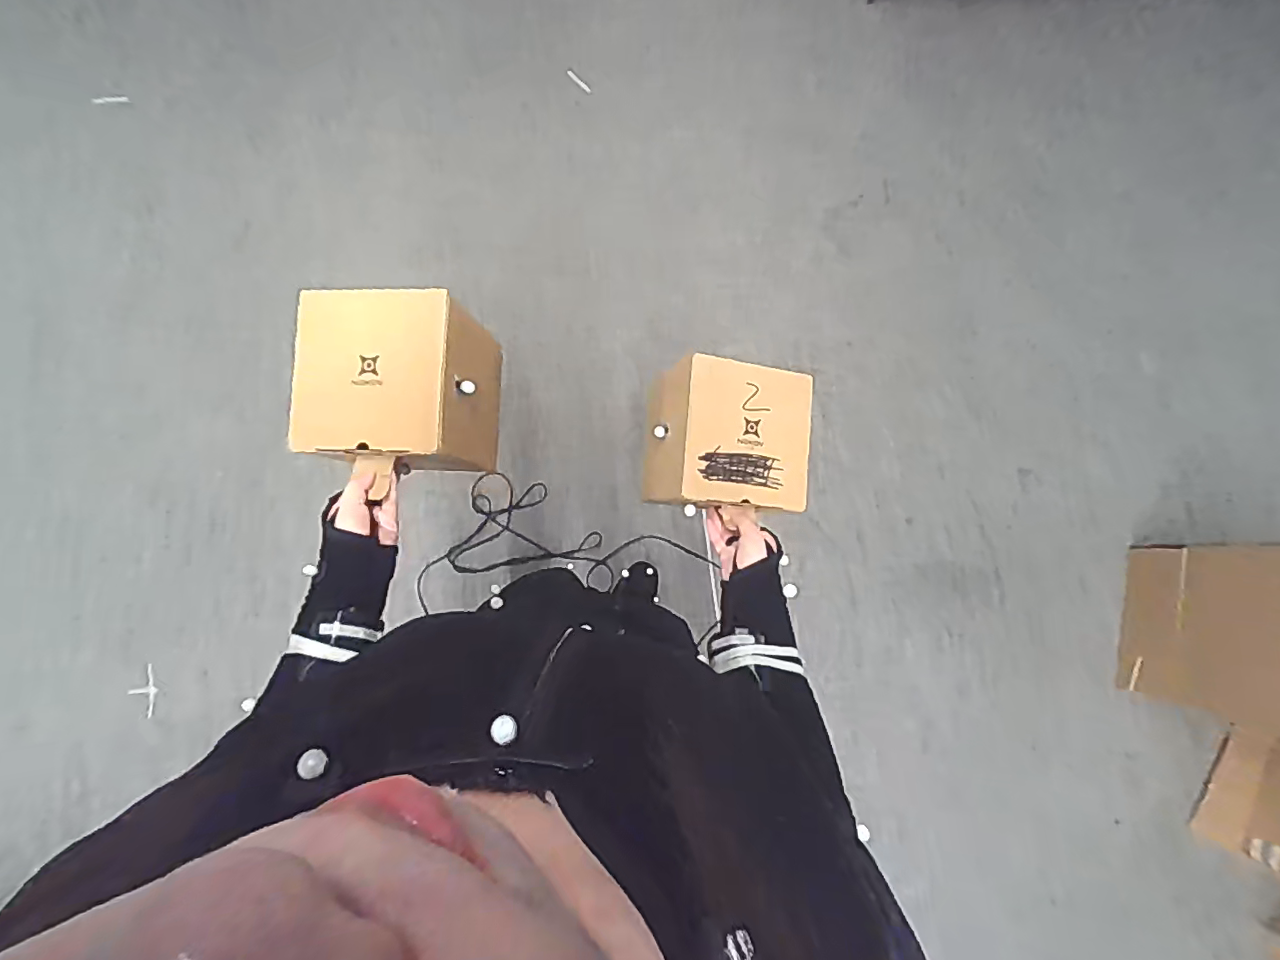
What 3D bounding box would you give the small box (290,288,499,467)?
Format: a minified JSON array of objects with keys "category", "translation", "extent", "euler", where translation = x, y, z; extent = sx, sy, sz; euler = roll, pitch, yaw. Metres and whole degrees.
[{"category":"small box","translation":[-0.277,-0.112,0.648],"extent":[0.168,0.176,0.179],"euler":[2,87,5]}]
